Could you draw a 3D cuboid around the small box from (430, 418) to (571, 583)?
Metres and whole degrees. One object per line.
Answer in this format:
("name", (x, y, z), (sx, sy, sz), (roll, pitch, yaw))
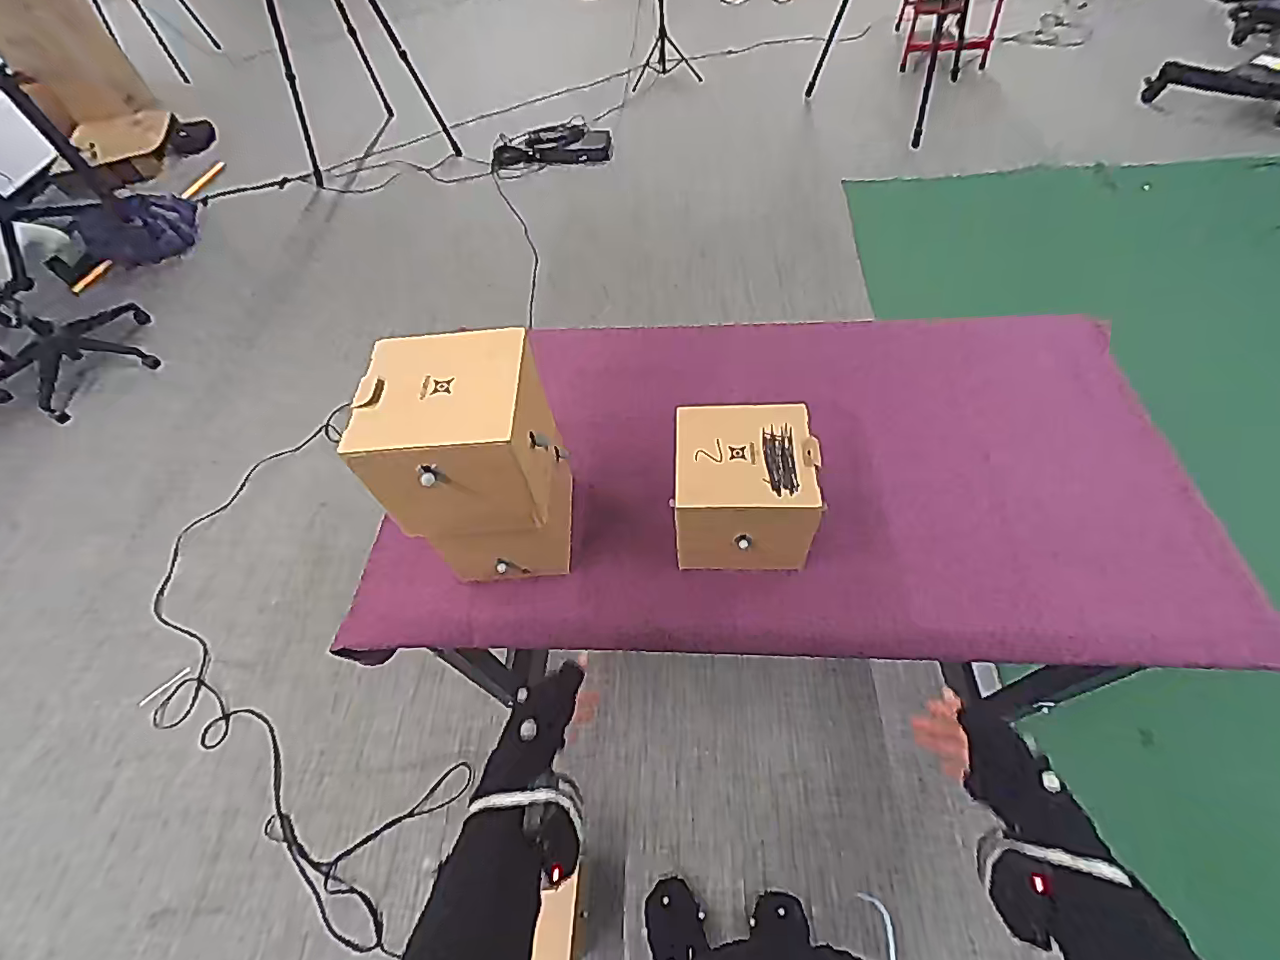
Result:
("small box", (-0.195, 0.031, 0.780), (0.168, 0.176, 0.179), (-4, 55, 2))

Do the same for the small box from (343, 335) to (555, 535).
("small box", (-0.203, -0.047, 0.636), (0.179, 0.176, 0.168), (-4, 56, 3))
